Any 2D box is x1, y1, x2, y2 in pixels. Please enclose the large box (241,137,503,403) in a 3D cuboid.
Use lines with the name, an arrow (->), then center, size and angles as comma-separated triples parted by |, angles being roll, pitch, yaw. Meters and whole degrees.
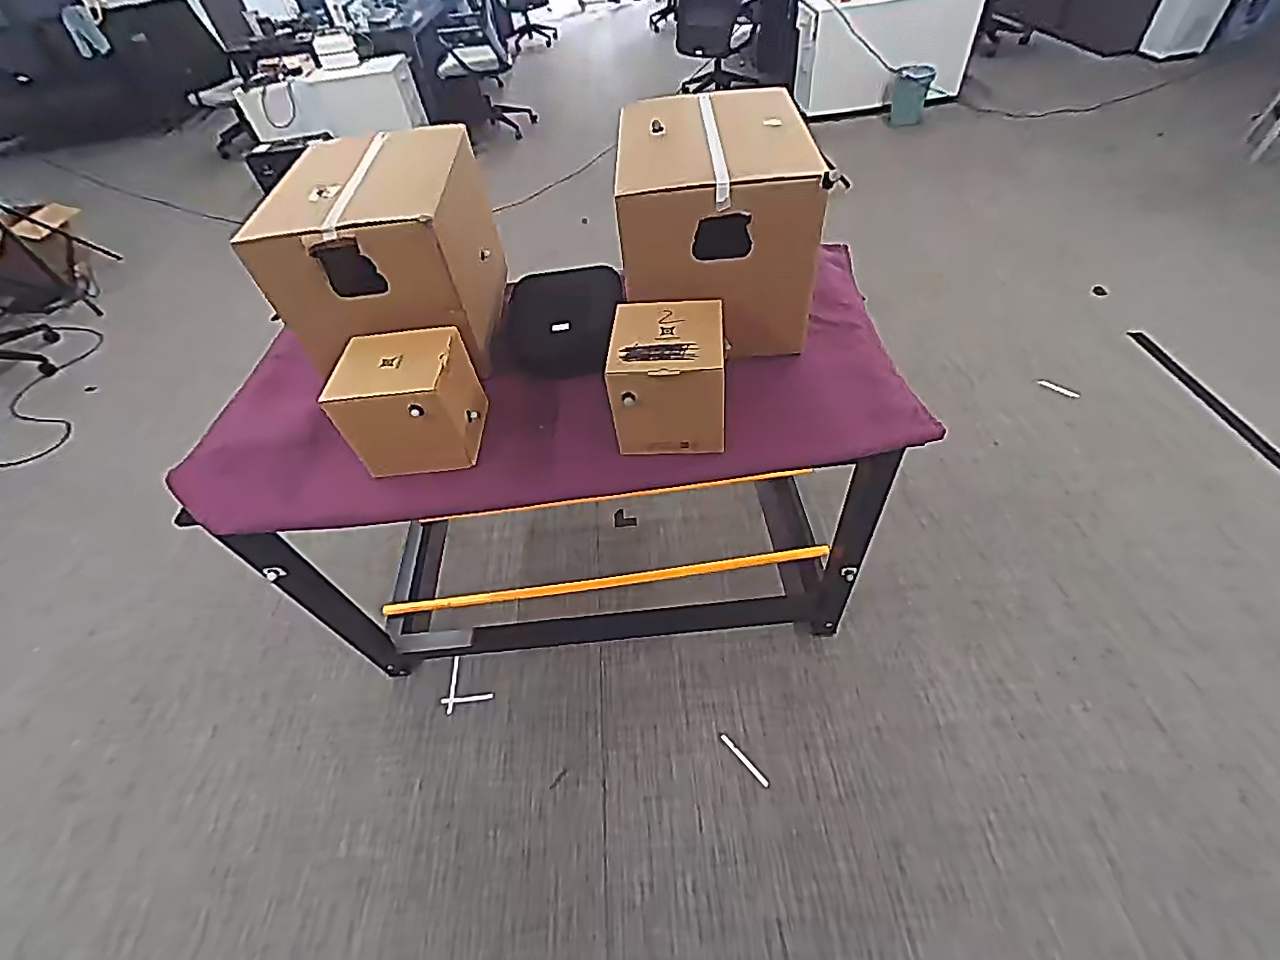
large box -> -0.466, -0.412, 1.056 | 0.320, 0.320, 0.408 | -8, 51, 1
